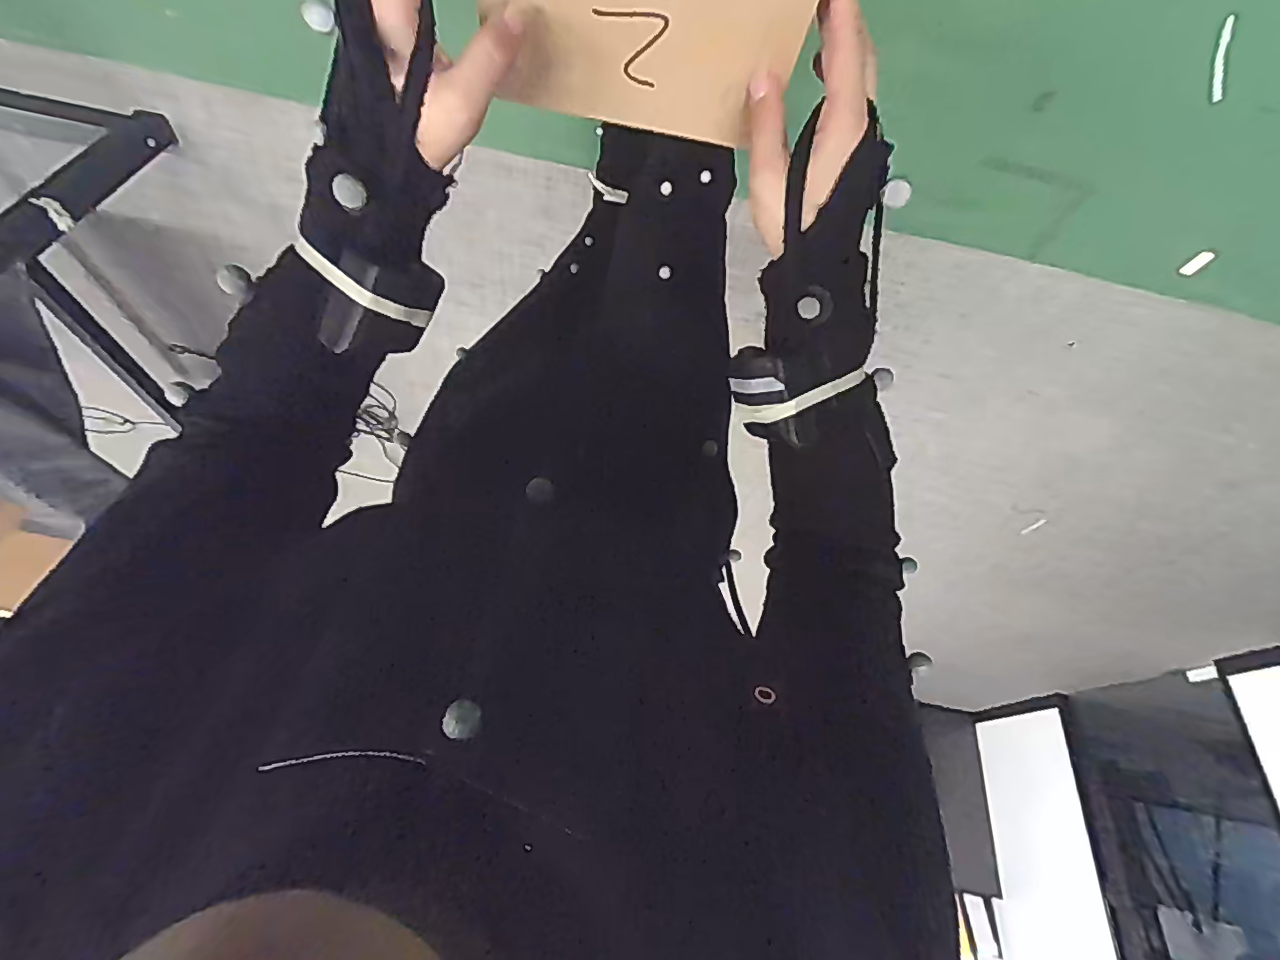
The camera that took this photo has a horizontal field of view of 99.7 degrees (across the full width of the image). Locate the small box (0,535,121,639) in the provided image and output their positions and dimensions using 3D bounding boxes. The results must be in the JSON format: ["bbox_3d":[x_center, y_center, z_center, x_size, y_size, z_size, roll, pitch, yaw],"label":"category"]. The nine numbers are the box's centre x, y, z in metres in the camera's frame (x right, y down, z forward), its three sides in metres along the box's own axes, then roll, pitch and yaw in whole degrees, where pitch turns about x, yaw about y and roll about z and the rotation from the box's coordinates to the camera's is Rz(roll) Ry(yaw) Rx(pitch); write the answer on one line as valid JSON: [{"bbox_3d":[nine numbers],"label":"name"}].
[{"bbox_3d":[-1.315,0.236,1.193,0.179,0.176,0.168,9,149,3],"label":"small box"}]
